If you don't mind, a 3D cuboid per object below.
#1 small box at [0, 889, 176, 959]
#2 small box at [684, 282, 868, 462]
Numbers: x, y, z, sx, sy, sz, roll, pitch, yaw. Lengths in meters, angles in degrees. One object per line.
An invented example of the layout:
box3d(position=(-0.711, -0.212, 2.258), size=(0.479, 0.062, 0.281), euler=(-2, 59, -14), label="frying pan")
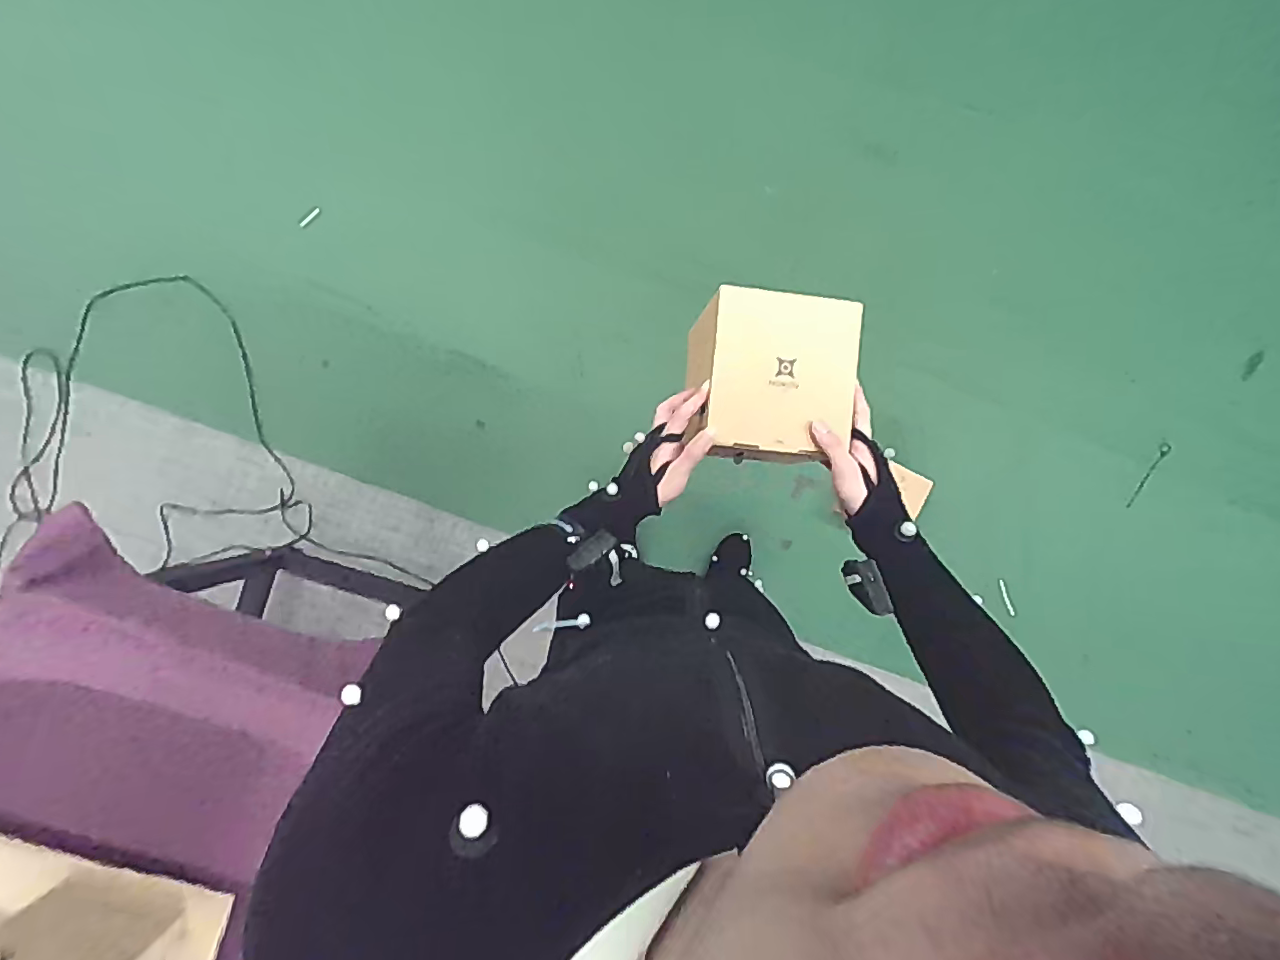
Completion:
box3d(position=(-0.727, 0.641, 0.646), size=(0.179, 0.176, 0.168), euler=(18, 88, -2), label="small box")
box3d(position=(0.154, -0.118, 0.665), size=(0.168, 0.176, 0.179), euler=(6, 91, -6), label="small box")
